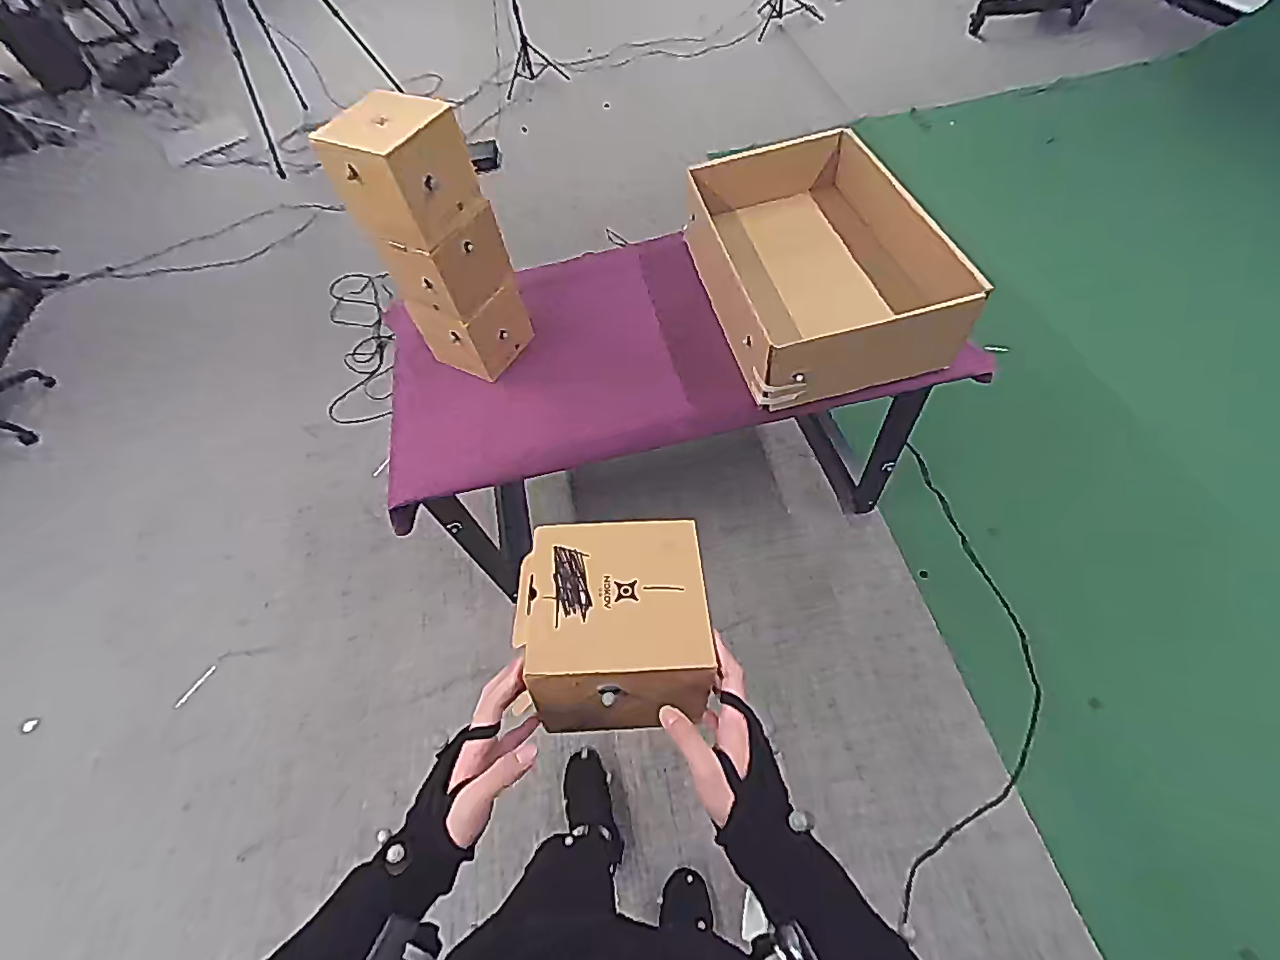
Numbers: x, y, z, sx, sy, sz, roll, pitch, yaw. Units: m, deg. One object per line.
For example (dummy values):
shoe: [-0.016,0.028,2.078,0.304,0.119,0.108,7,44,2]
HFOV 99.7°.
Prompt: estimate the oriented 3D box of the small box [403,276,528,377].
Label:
small box: [-0.375,-0.355,1.200,0.179,0.176,0.168,24,63,20]

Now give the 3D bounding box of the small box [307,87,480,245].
small box: [-0.408,-0.532,0.929,0.179,0.176,0.168,22,64,19]

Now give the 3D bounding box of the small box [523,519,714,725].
small box: [-0.022,0.159,0.595,0.179,0.176,0.168,-1,49,-3]

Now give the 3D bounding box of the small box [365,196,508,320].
small box: [-0.387,-0.446,1.065,0.168,0.176,0.179,24,64,19]
